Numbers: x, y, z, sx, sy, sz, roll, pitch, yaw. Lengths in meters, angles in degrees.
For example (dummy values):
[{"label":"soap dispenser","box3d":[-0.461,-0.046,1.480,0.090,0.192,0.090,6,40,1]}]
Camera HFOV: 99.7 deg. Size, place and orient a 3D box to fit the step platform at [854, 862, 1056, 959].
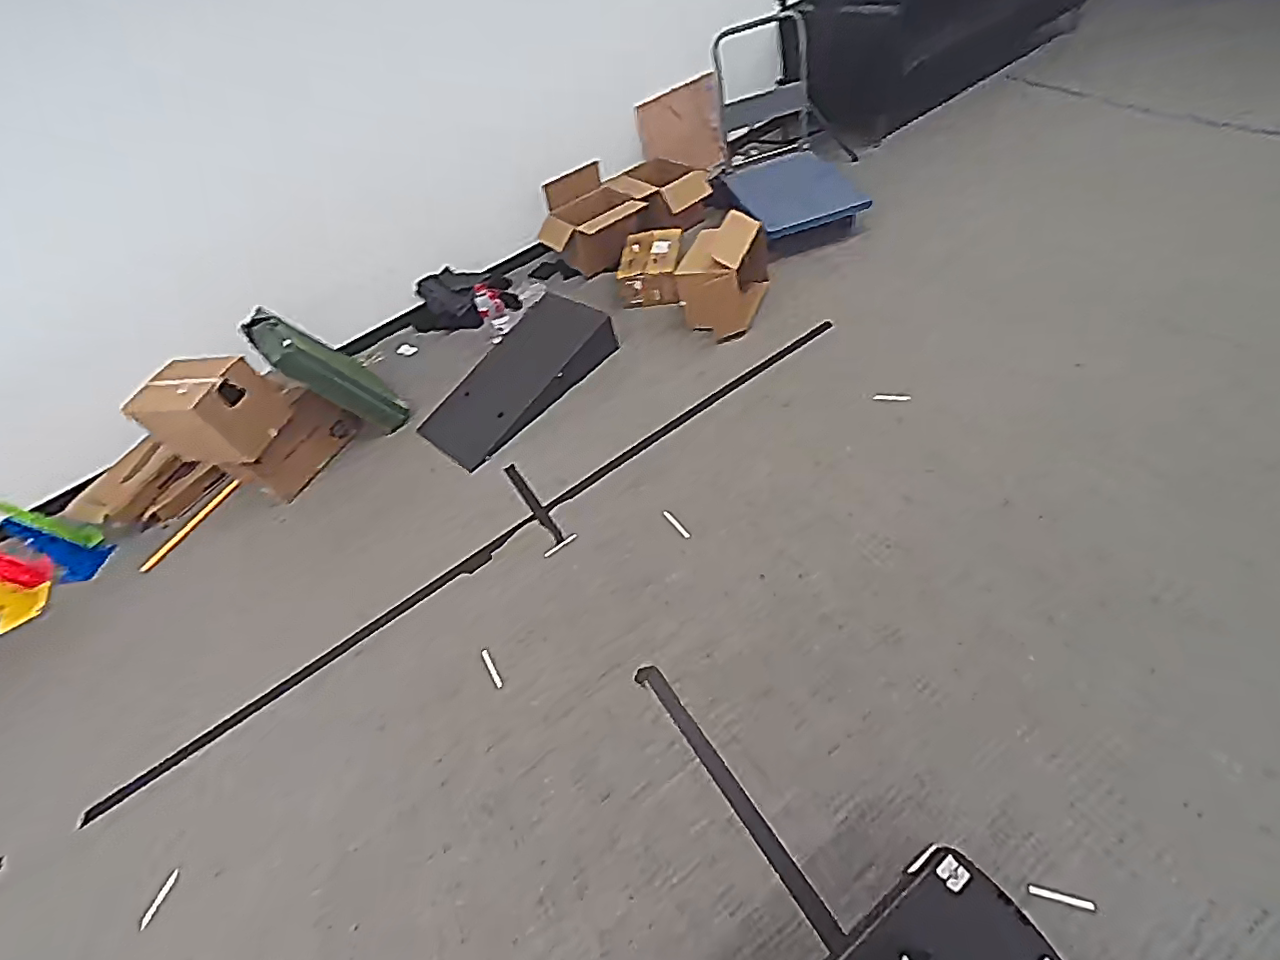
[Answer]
[{"label":"step platform","box3d":[0.487,1.080,1.017,0.684,0.204,0.286,-34,51,-15]}]
